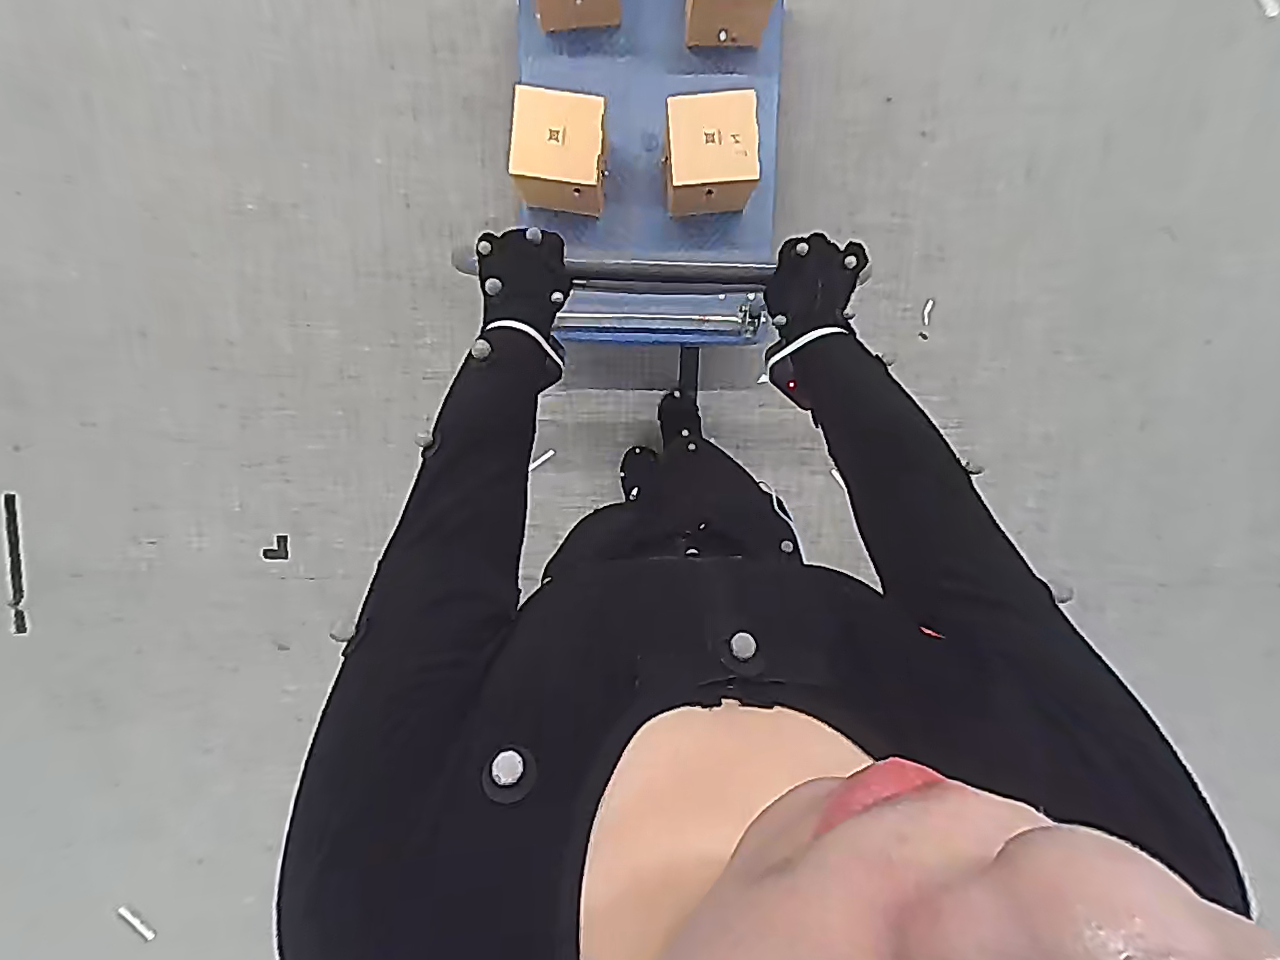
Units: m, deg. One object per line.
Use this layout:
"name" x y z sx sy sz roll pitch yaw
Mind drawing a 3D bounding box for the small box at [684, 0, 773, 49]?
"small box" 0.179 -1.028 1.098 0.168 0.176 0.179 1 98 -1

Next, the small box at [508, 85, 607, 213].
"small box" -0.167 -0.685 1.138 0.179 0.176 0.168 7 96 -3

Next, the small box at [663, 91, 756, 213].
"small box" 0.140 -0.681 1.142 0.179 0.176 0.168 -4 97 0
